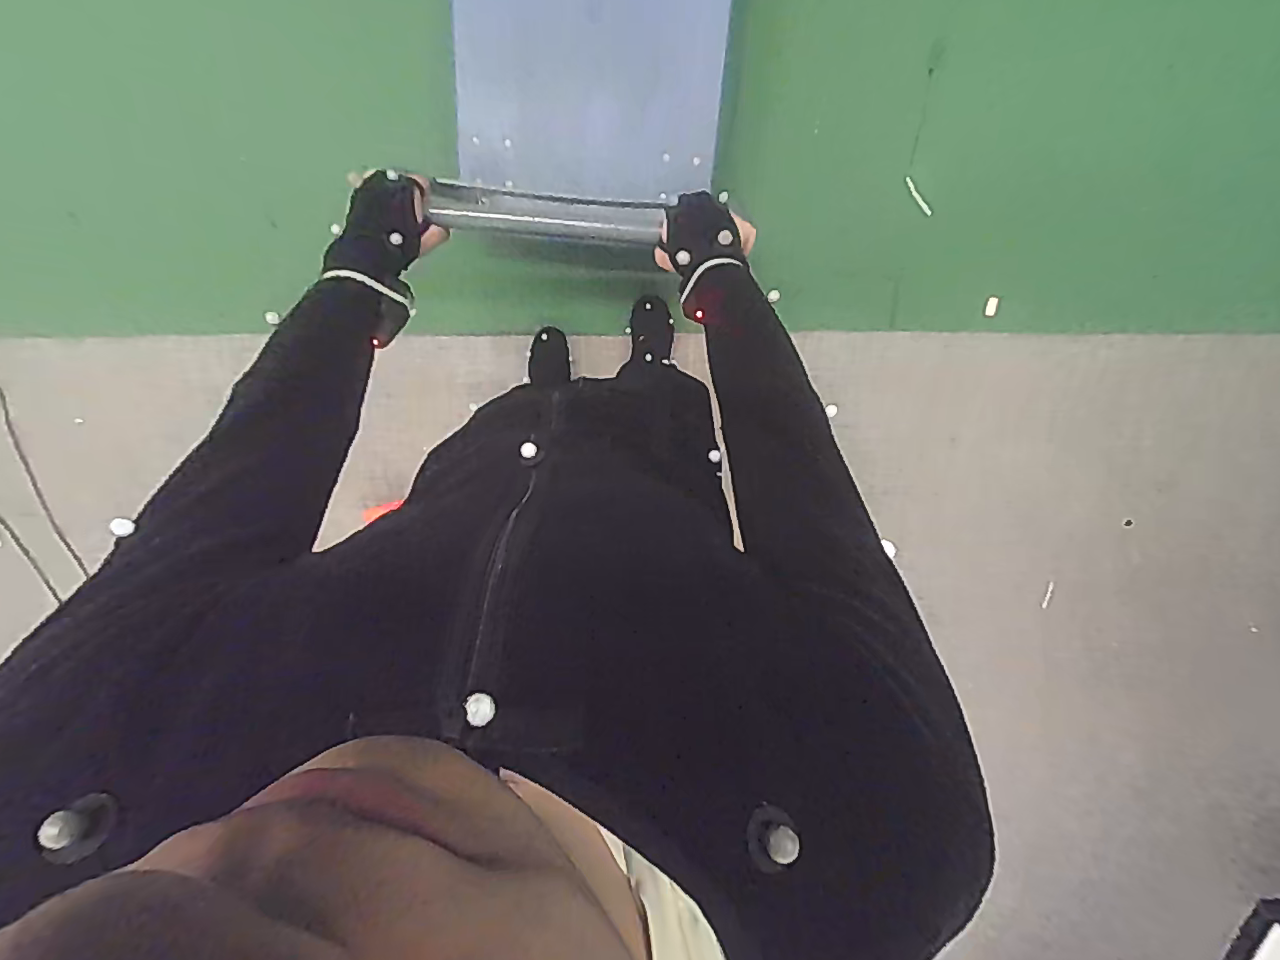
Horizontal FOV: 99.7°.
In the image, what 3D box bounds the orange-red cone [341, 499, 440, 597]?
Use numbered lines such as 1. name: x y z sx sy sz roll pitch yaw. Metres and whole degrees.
1. orange-red cone: -0.749 0.224 1.546 0.199 0.360 0.198 -14 110 5
